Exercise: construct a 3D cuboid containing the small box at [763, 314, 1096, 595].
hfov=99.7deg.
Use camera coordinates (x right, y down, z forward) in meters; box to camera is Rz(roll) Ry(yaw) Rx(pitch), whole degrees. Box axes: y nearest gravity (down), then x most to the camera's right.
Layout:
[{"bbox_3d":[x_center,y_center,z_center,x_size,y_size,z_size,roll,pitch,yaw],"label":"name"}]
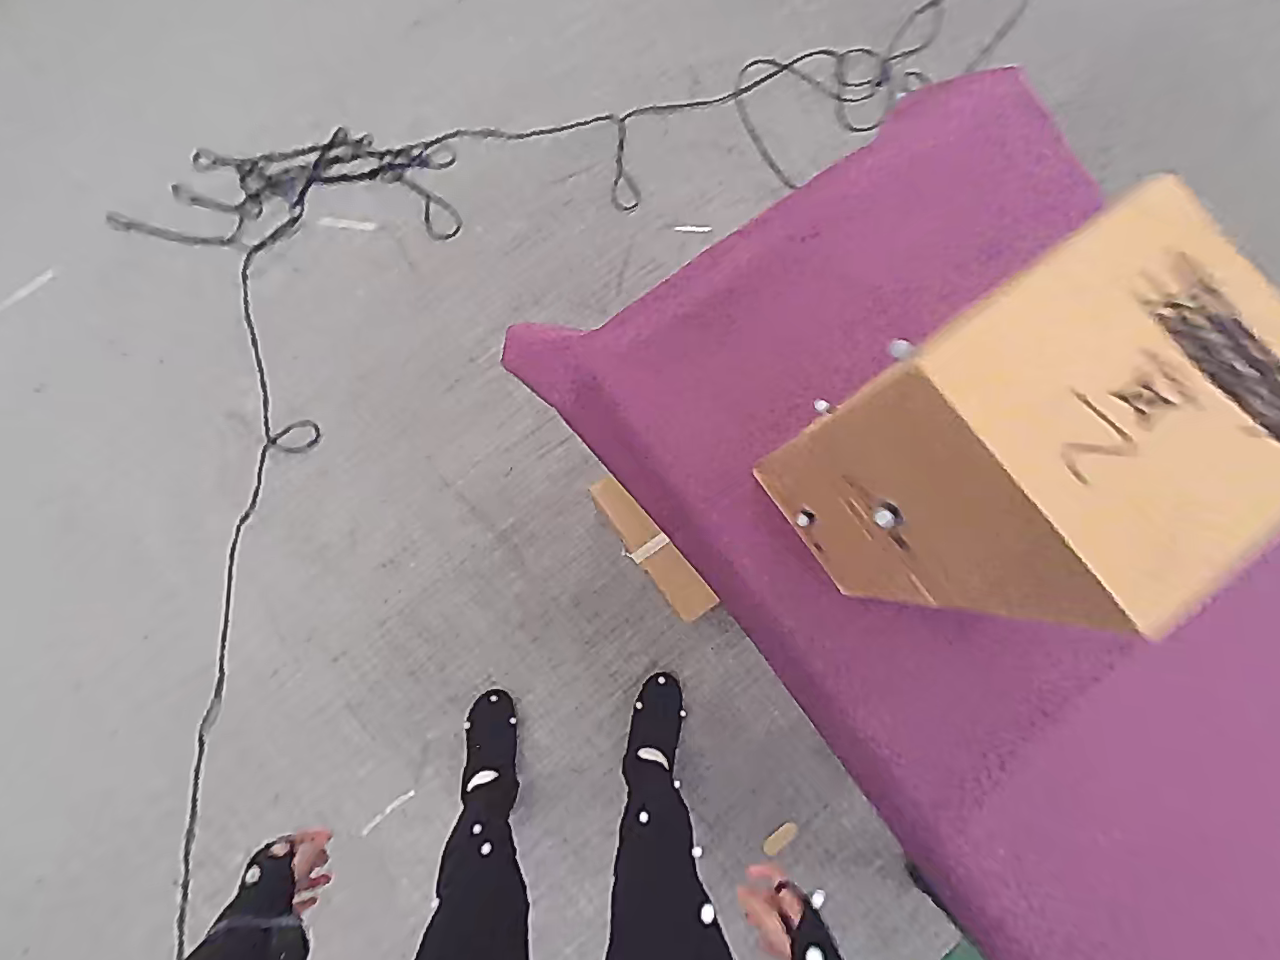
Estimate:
[{"bbox_3d":[0.244,-0.015,0.505,0.179,0.176,0.168,-35,85,-6],"label":"small box"}]
